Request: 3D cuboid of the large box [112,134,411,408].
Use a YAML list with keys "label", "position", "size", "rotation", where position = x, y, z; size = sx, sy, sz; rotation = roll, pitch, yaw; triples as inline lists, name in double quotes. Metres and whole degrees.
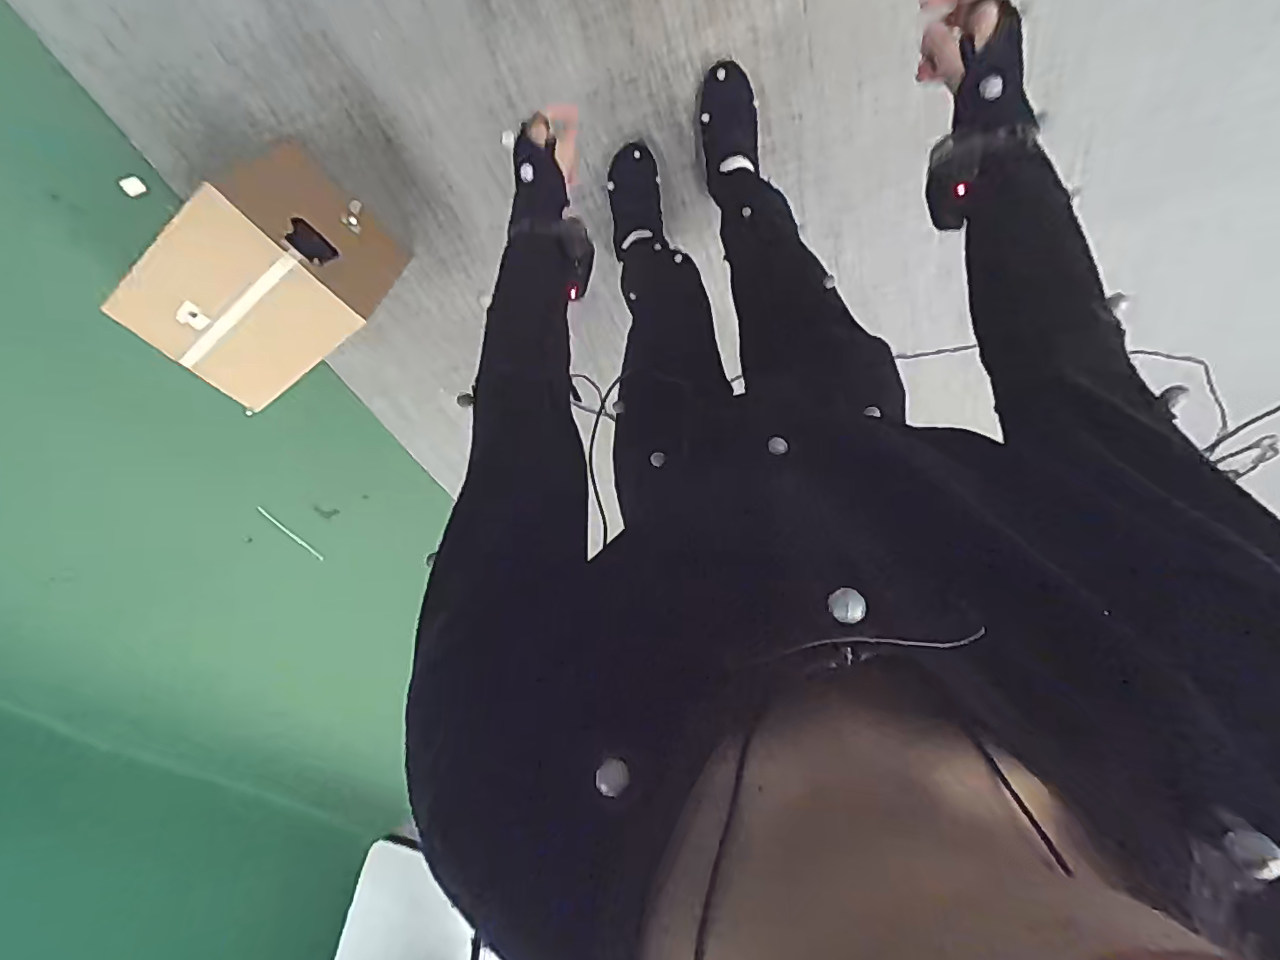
- label: "large box"
  position: [-0.775, -0.434, 1.154]
  size: [0.408, 0.320, 0.320]
  rotation: [-26, 129, 24]
